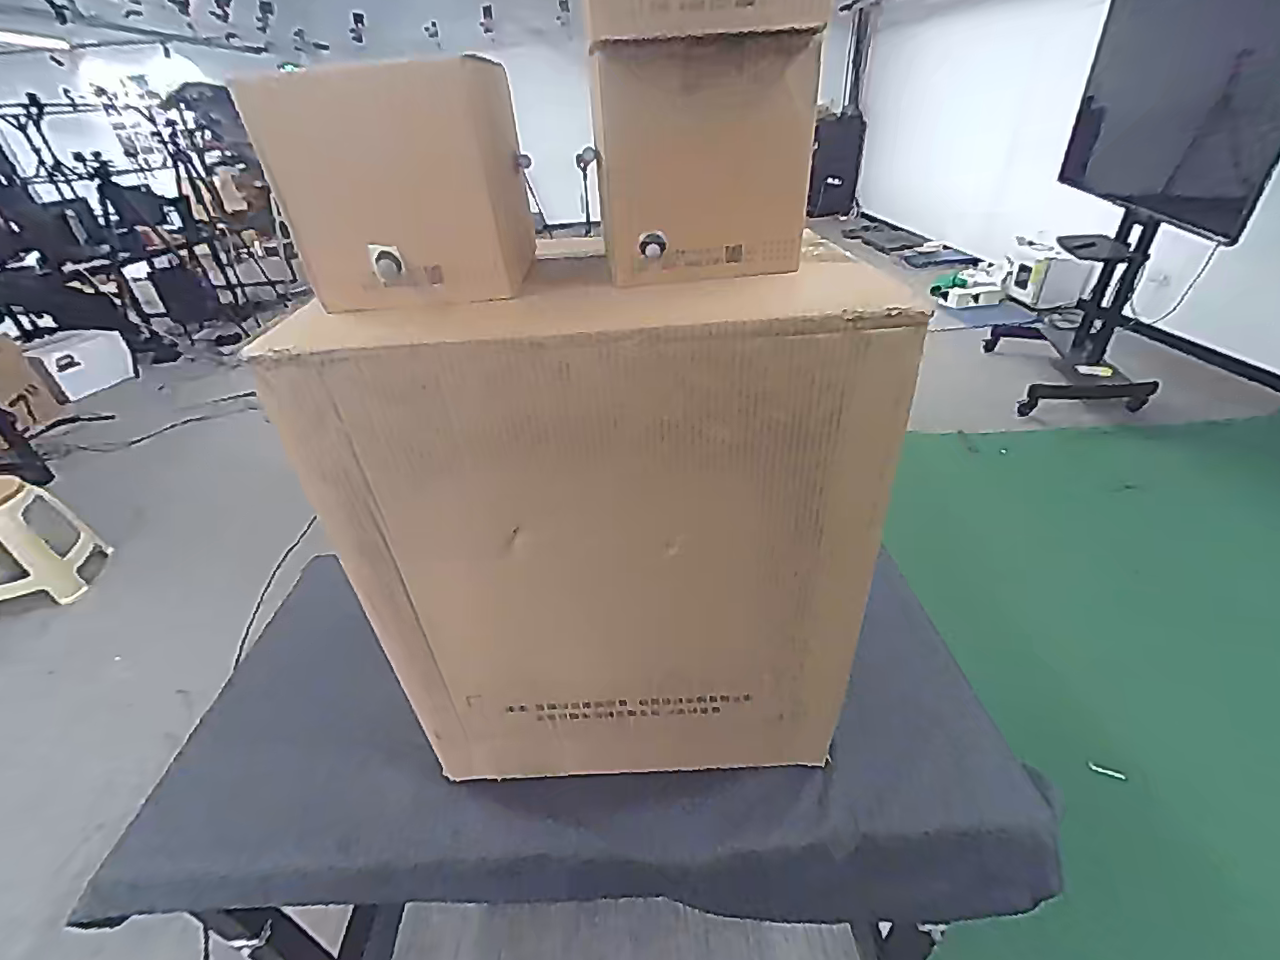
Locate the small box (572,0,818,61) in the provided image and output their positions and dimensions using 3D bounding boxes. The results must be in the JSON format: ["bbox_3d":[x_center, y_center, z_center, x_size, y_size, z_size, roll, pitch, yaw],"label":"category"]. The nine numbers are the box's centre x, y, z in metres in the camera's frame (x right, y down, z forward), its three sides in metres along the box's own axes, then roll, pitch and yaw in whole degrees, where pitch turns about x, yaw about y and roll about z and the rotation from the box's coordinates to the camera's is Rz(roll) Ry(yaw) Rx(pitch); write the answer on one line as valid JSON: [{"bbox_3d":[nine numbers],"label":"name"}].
[{"bbox_3d":[0.029,-0.408,0.387,0.168,0.176,0.179,-7,35,-2],"label":"small box"}]

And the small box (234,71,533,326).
[{"bbox_3d":[-0.199,-0.253,0.487,0.168,0.176,0.179,-7,37,1],"label":"small box"}]

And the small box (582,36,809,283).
[{"bbox_3d":[0.041,-0.287,0.497,0.168,0.176,0.179,-7,35,-3],"label":"small box"}]
